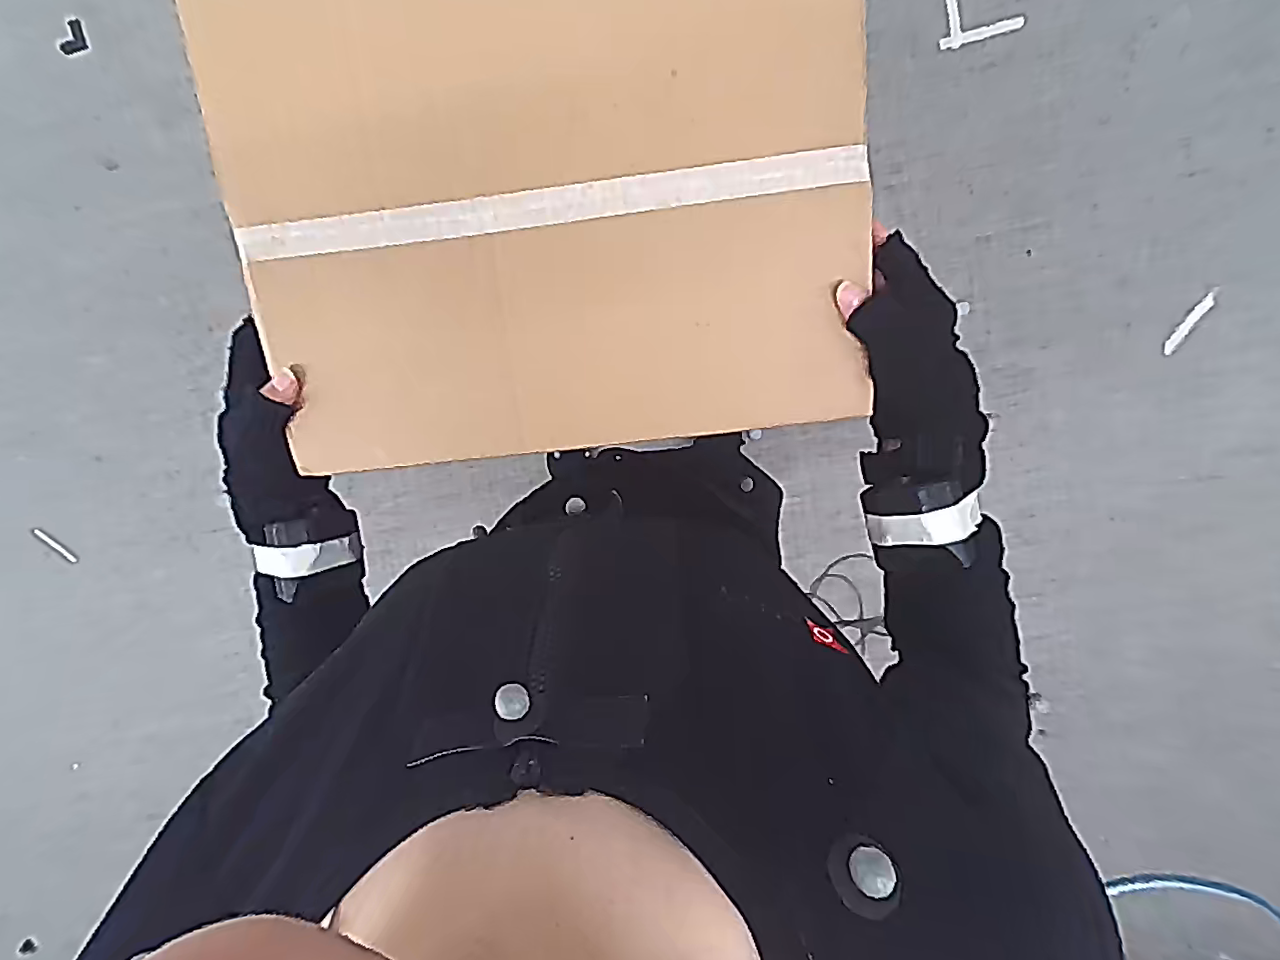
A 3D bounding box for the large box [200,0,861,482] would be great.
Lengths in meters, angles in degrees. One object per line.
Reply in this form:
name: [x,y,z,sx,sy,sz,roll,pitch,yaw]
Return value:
large box: [-0.054,-0.204,0.501,0.408,0.320,0.320,-6,102,3]
